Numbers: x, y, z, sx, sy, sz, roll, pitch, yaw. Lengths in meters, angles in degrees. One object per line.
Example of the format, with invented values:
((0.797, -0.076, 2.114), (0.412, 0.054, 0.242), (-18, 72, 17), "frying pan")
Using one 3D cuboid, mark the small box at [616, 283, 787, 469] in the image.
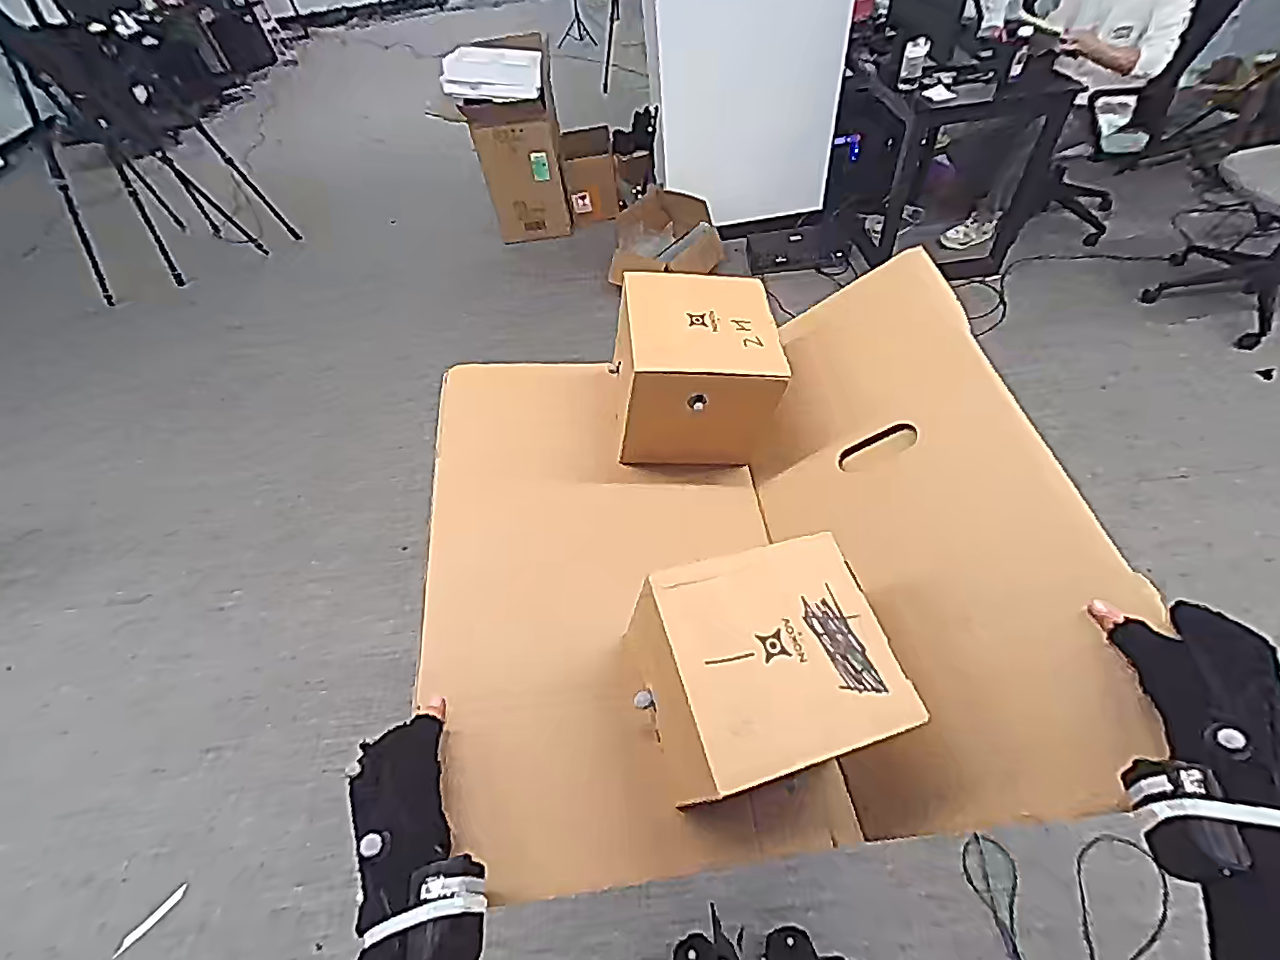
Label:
((0.062, -0.125, 0.688), (0.179, 0.176, 0.168), (1, 57, -9), "small box")
